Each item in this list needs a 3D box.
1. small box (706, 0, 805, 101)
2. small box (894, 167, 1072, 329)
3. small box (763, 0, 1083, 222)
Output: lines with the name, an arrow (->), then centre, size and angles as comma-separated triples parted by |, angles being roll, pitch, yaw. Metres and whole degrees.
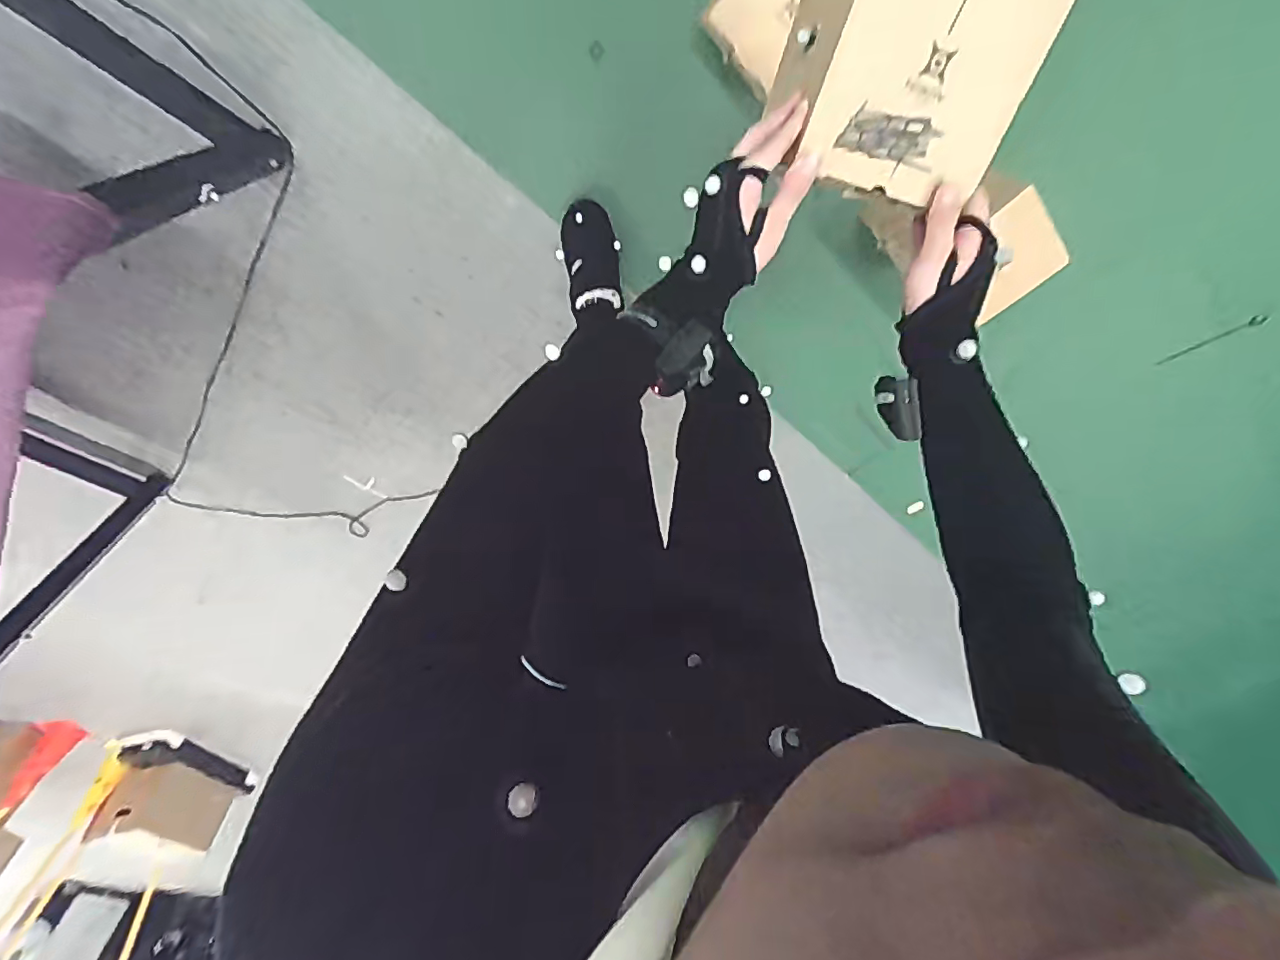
small box -> 0.221, -0.748, 0.858 | 0.168, 0.176, 0.179 | 34, 123, -26
small box -> 0.581, -0.407, 0.936 | 0.168, 0.176, 0.179 | 36, 122, -27
small box -> 0.225, -0.356, 0.484 | 0.168, 0.176, 0.179 | 11, 121, -10
